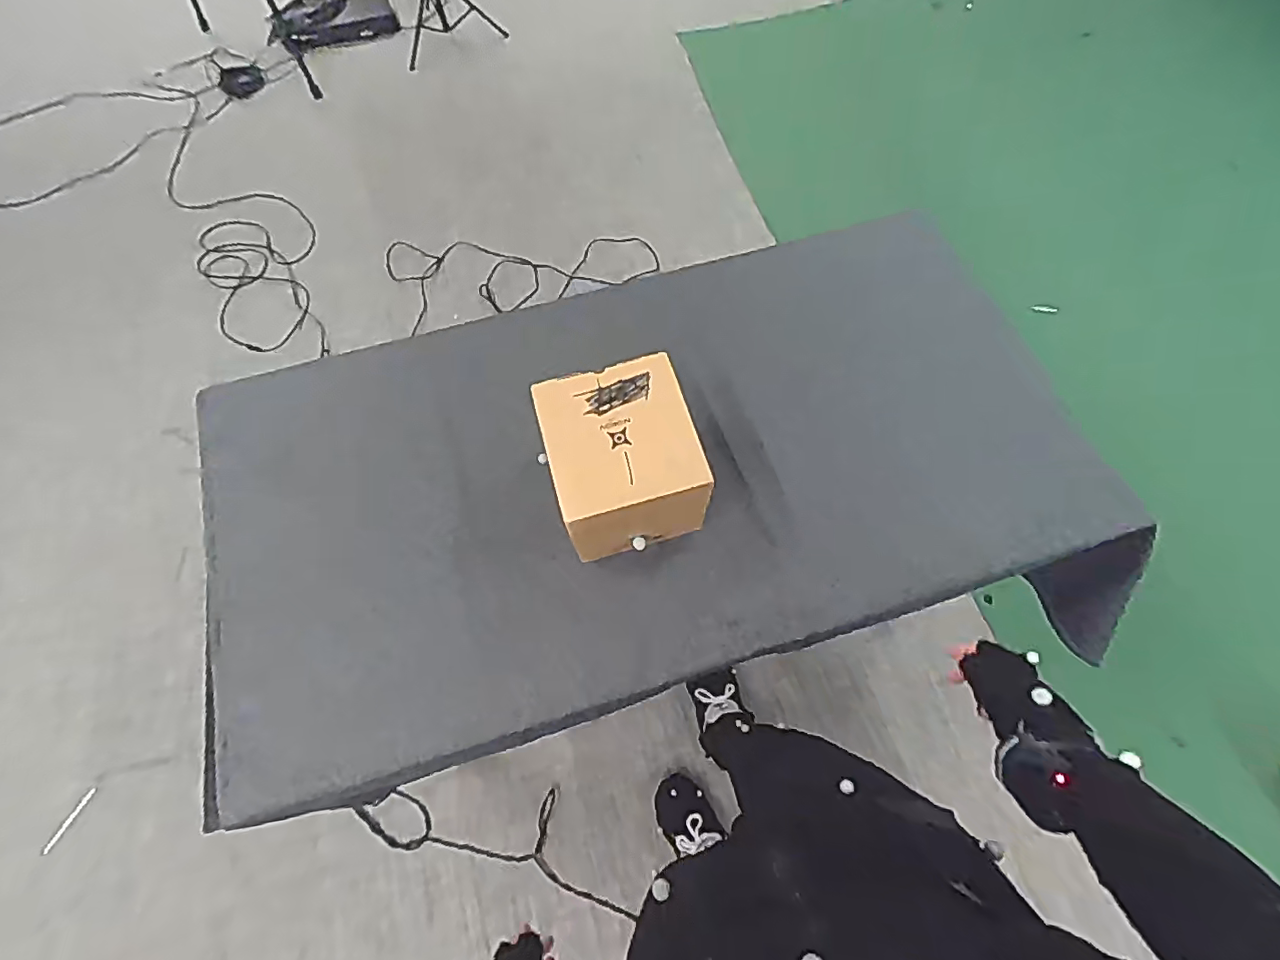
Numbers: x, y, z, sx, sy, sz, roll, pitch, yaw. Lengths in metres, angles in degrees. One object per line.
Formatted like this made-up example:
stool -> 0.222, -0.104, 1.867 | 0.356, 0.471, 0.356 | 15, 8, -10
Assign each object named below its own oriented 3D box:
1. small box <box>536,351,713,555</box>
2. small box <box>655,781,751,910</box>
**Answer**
small box -> -0.021, -0.026, 0.672 | 0.168, 0.176, 0.179 | -15, 68, -5
small box -> 0.135, 0.760, 1.143 | 0.179, 0.176, 0.168 | -1, 77, 20
